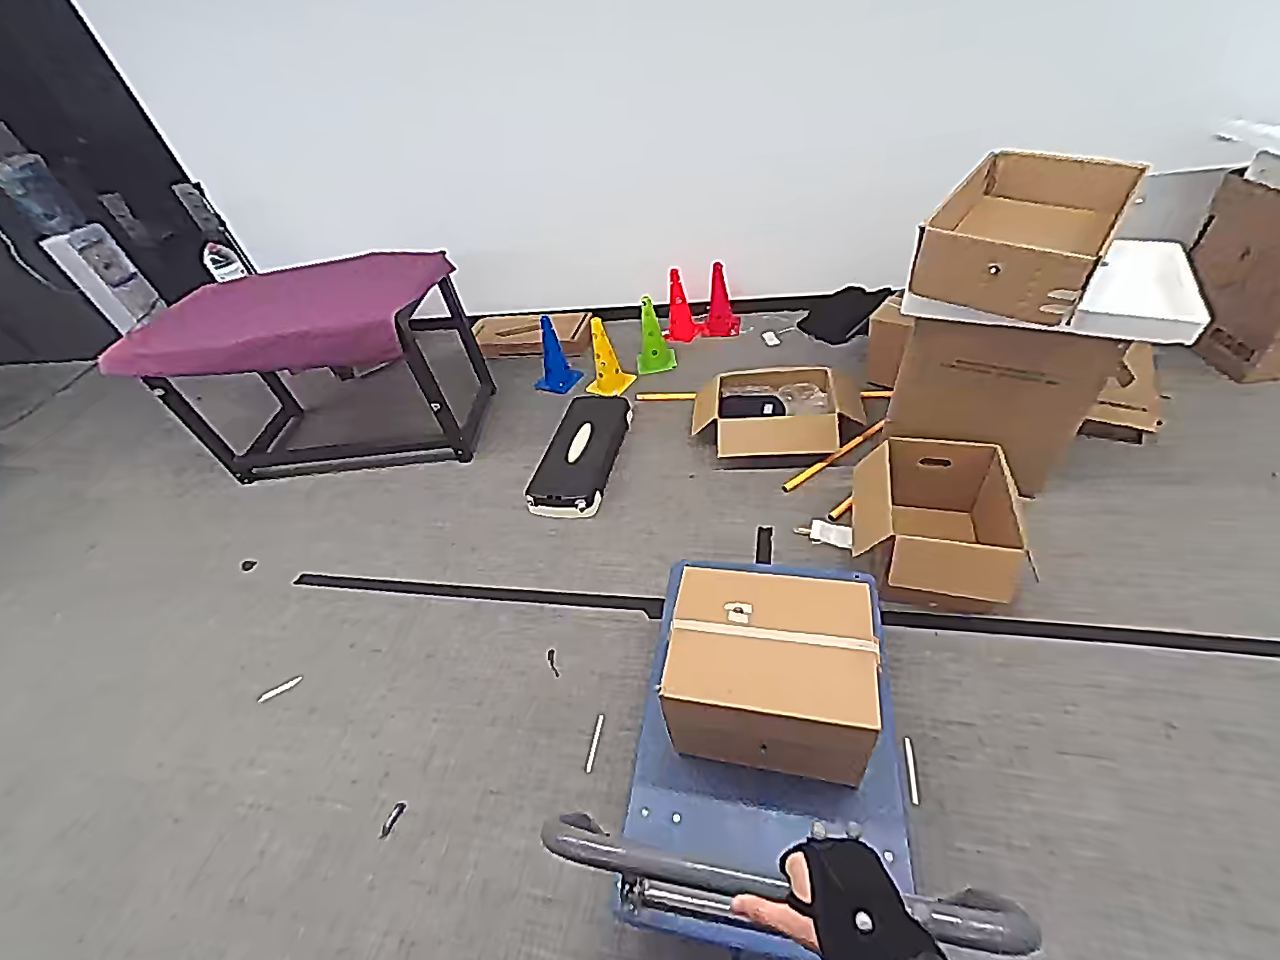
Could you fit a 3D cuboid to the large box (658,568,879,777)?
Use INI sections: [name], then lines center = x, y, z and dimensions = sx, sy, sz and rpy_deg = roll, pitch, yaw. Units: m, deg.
[large box]
center = 0.282, 0.419, 1.195
dimensions = 0.408, 0.320, 0.320
rpy_deg = 2, 44, 16
